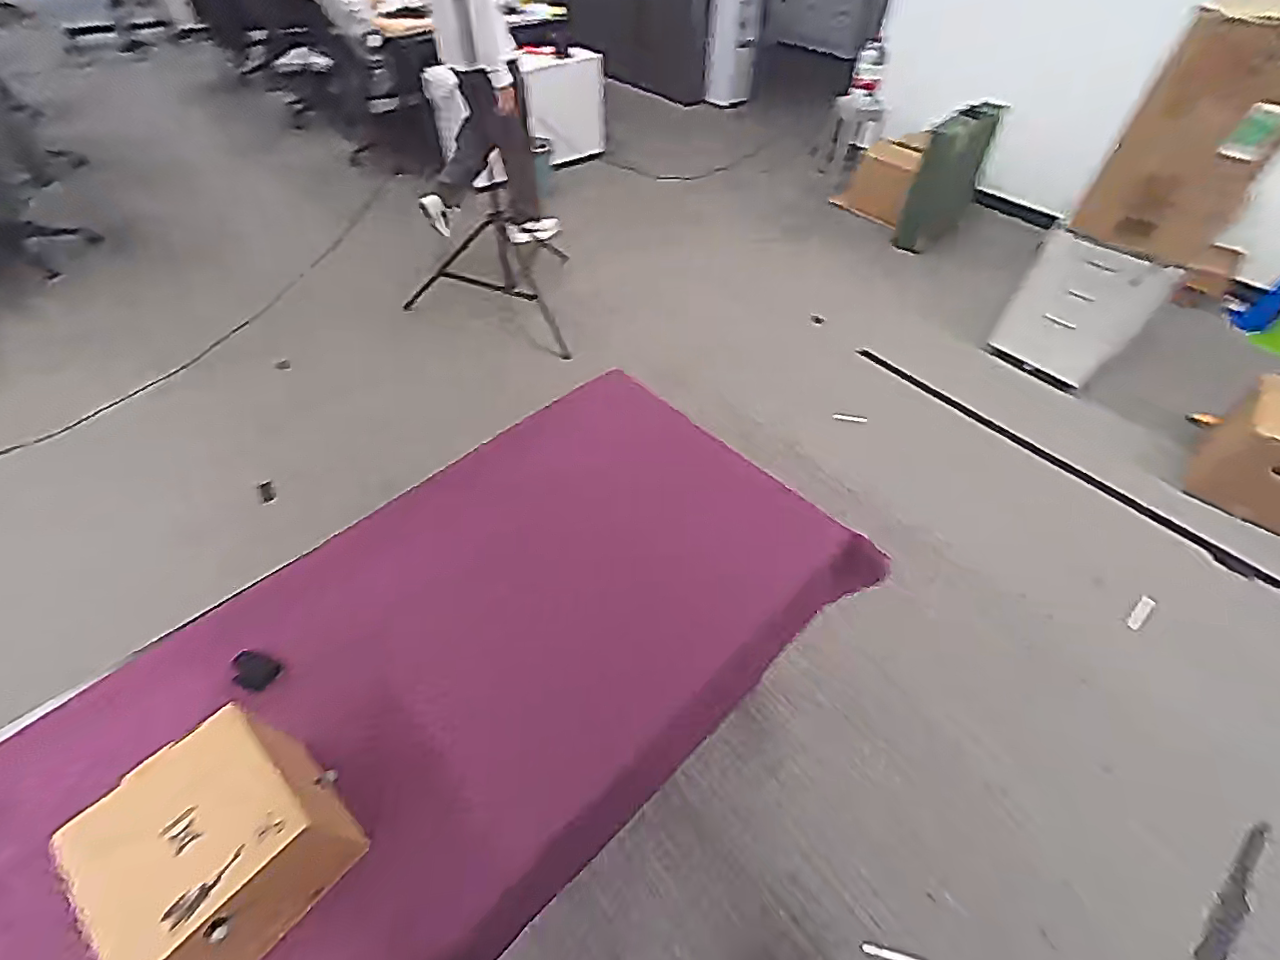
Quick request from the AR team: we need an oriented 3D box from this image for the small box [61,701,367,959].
[{"bbox_3d":[-0.432,0.381,0.574,0.179,0.176,0.168,33,56,25],"label":"small box"}]
